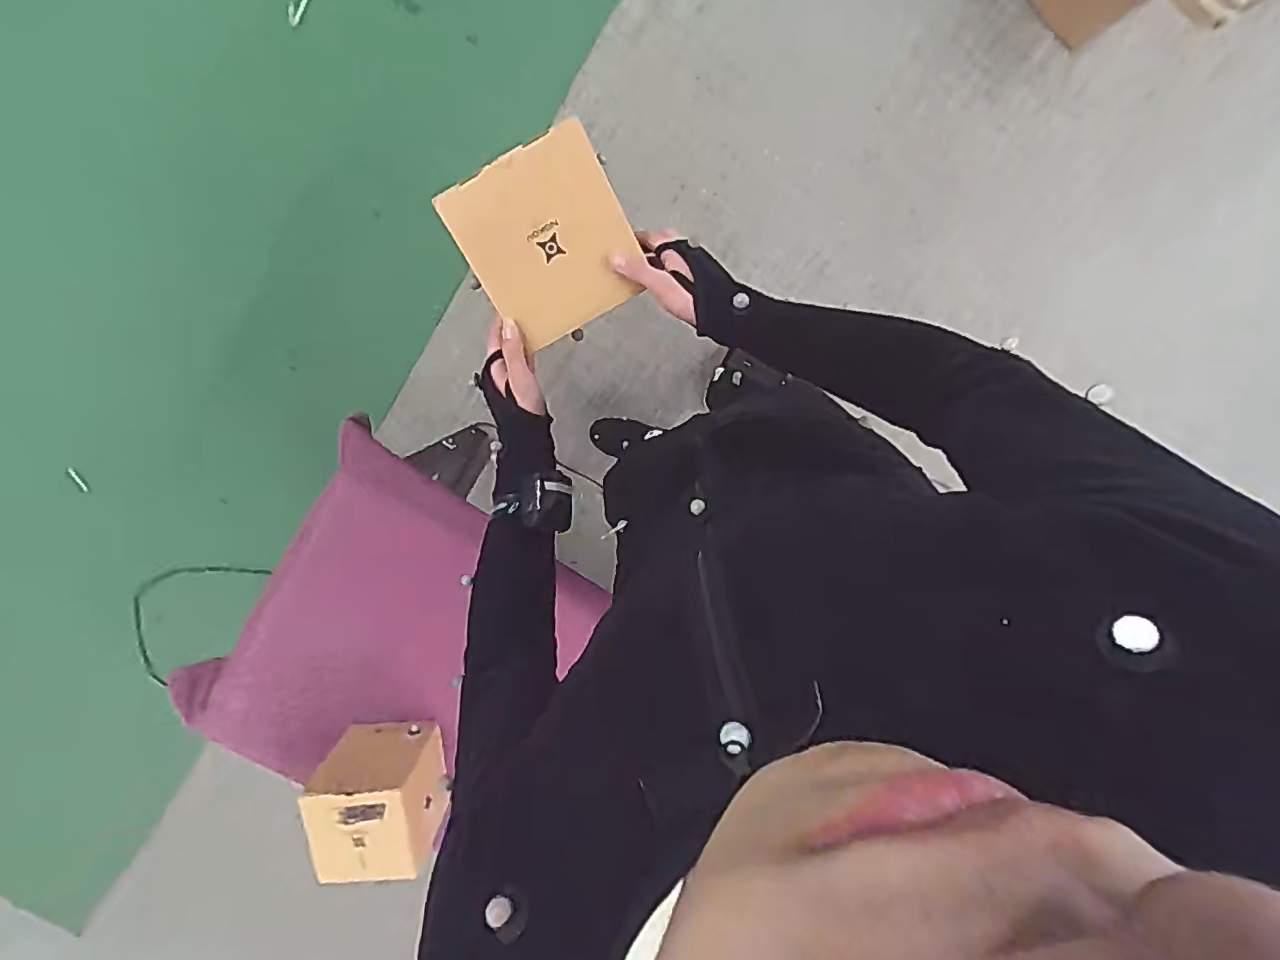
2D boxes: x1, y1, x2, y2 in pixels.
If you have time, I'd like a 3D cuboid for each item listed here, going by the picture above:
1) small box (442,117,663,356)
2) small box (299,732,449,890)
[{"bbox_3d":[-0.090,-0.264,0.619,0.168,0.176,0.179,-28,108,3],"label":"small box"},{"bbox_3d":[-0.446,0.558,0.934,0.168,0.176,0.179,-3,104,1],"label":"small box"}]
